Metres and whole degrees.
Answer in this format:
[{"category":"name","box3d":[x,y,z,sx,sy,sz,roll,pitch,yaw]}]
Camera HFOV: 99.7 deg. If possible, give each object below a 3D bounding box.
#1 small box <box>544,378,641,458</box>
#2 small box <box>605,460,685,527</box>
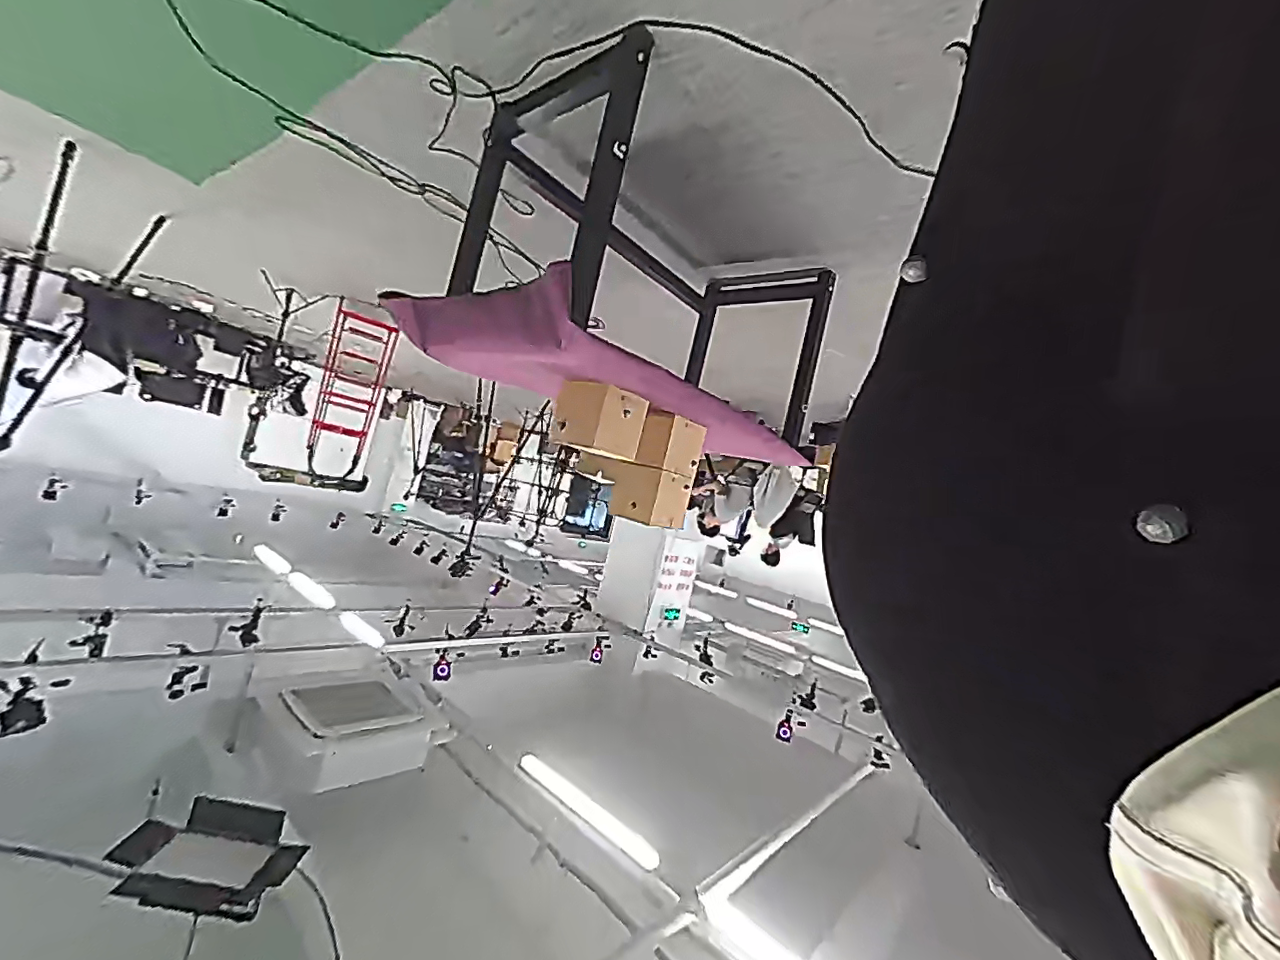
[{"category":"small box","box3d":[-0.122,-0.167,1.430,0.179,0.176,0.168,12,179,40]},{"category":"small box","box3d":[0.021,0.038,1.649,0.179,0.176,0.168,13,179,40]}]
